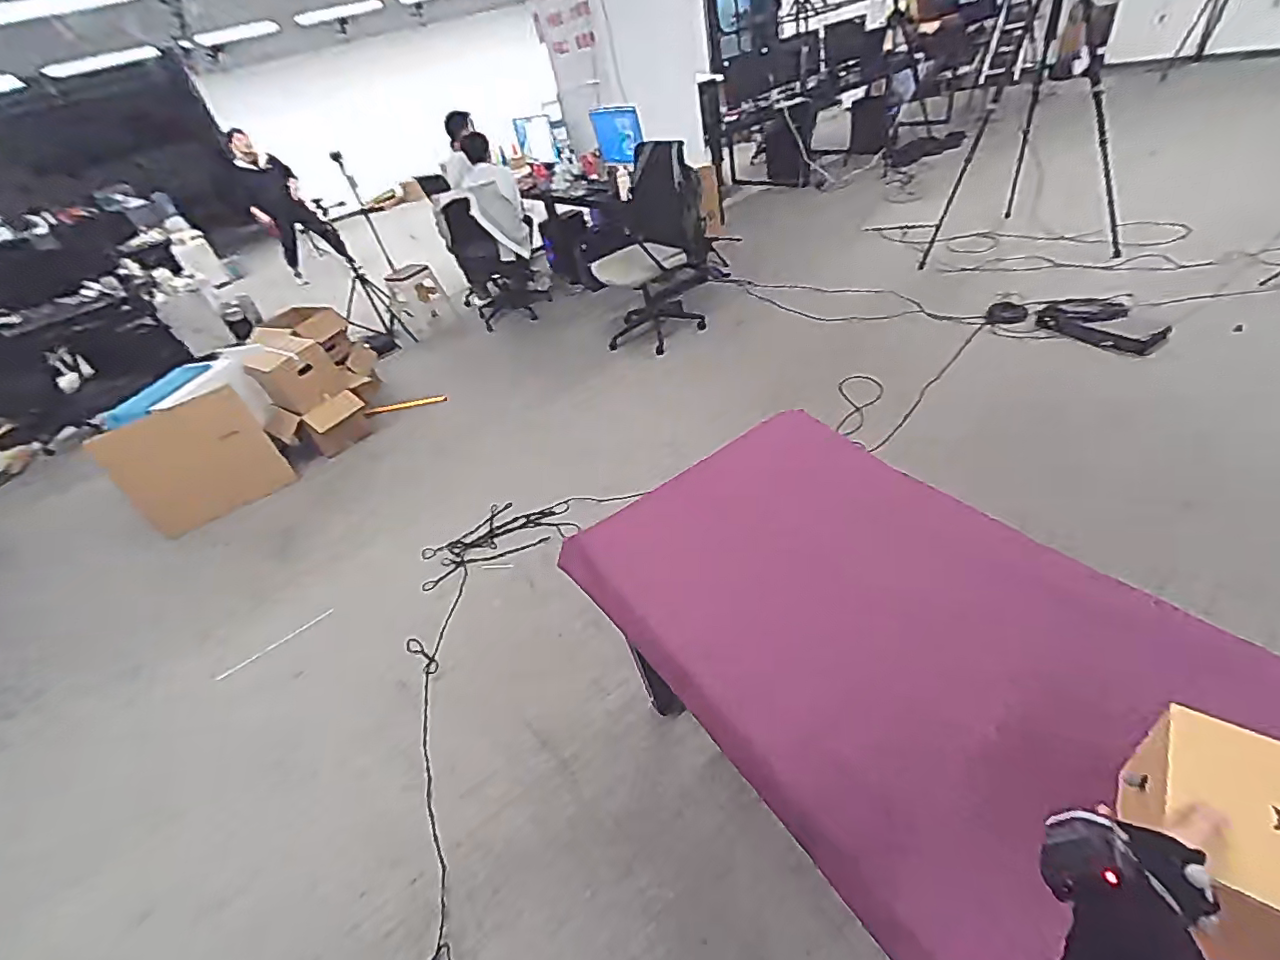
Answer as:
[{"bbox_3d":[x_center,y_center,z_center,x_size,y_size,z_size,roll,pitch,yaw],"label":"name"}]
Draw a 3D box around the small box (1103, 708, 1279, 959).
[{"bbox_3d":[0.583,0.366,0.518,0.179,0.176,0.168,18,48,34],"label":"small box"}]
